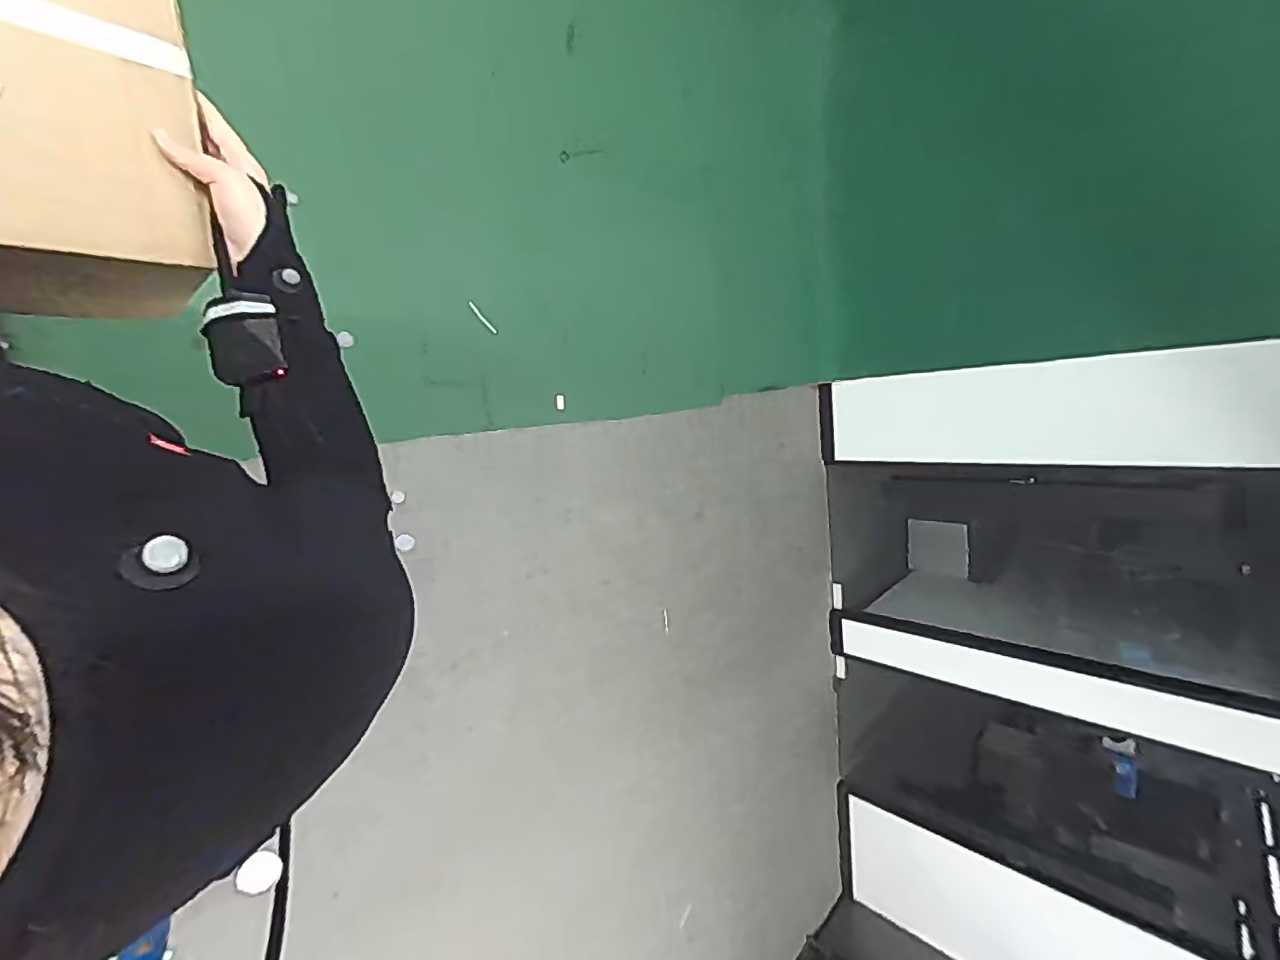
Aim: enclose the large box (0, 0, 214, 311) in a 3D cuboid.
[{"bbox_3d":[-0.614,-0.318,0.393,0.408,0.320,0.320,-11,102,-47],"label":"large box"}]
